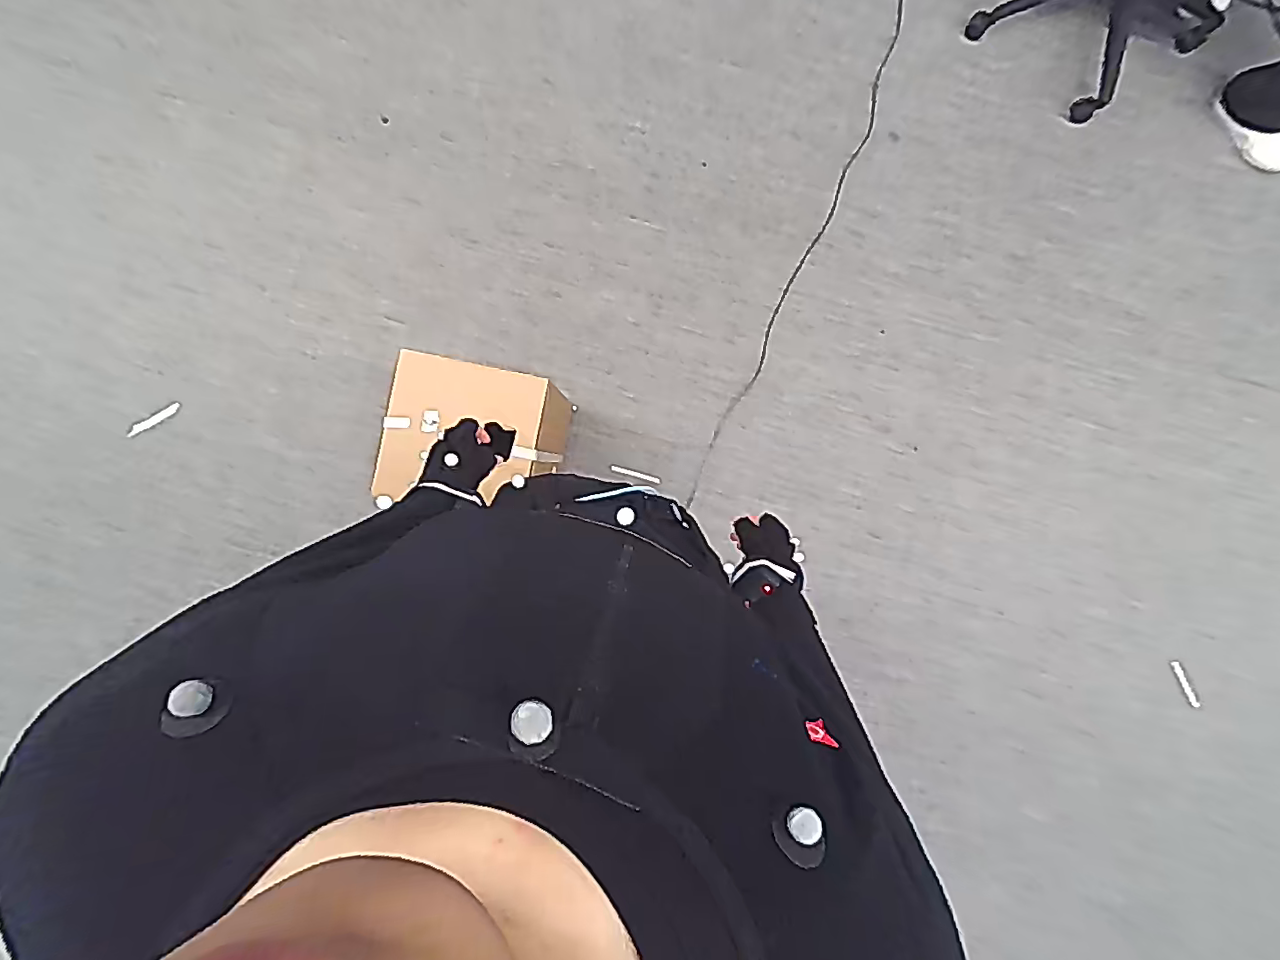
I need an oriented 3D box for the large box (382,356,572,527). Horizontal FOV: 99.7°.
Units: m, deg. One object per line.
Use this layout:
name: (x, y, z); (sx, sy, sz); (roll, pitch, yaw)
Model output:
large box: (-0.364, -0.089, 1.304); (0.320, 0.408, 0.320); (13, 91, -1)
